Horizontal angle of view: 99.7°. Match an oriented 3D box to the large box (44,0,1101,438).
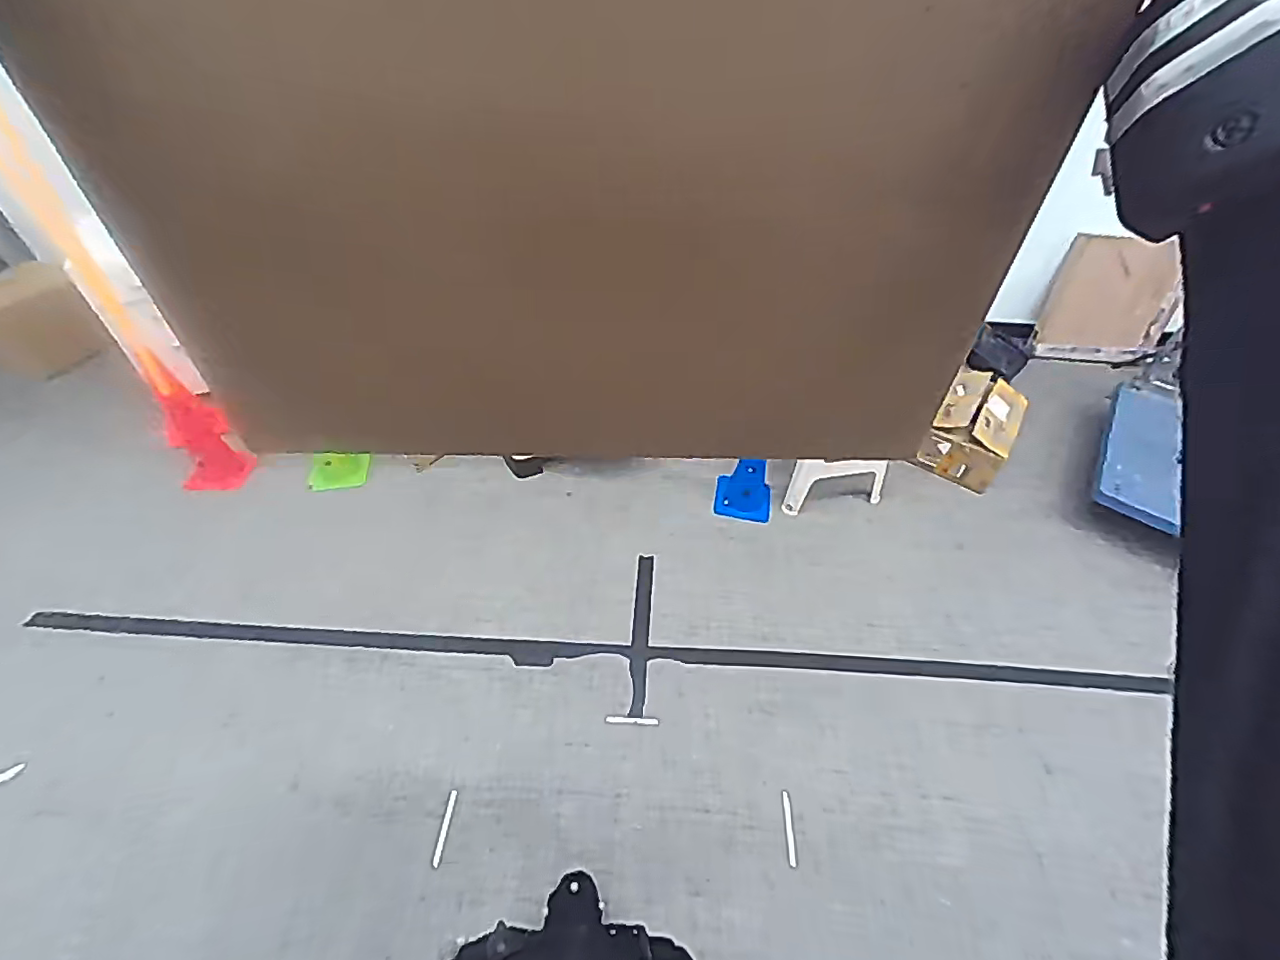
[{"bbox_3d":[-0.029,-0.237,0.346,0.408,0.320,0.320,1,44,-2],"label":"large box"}]
